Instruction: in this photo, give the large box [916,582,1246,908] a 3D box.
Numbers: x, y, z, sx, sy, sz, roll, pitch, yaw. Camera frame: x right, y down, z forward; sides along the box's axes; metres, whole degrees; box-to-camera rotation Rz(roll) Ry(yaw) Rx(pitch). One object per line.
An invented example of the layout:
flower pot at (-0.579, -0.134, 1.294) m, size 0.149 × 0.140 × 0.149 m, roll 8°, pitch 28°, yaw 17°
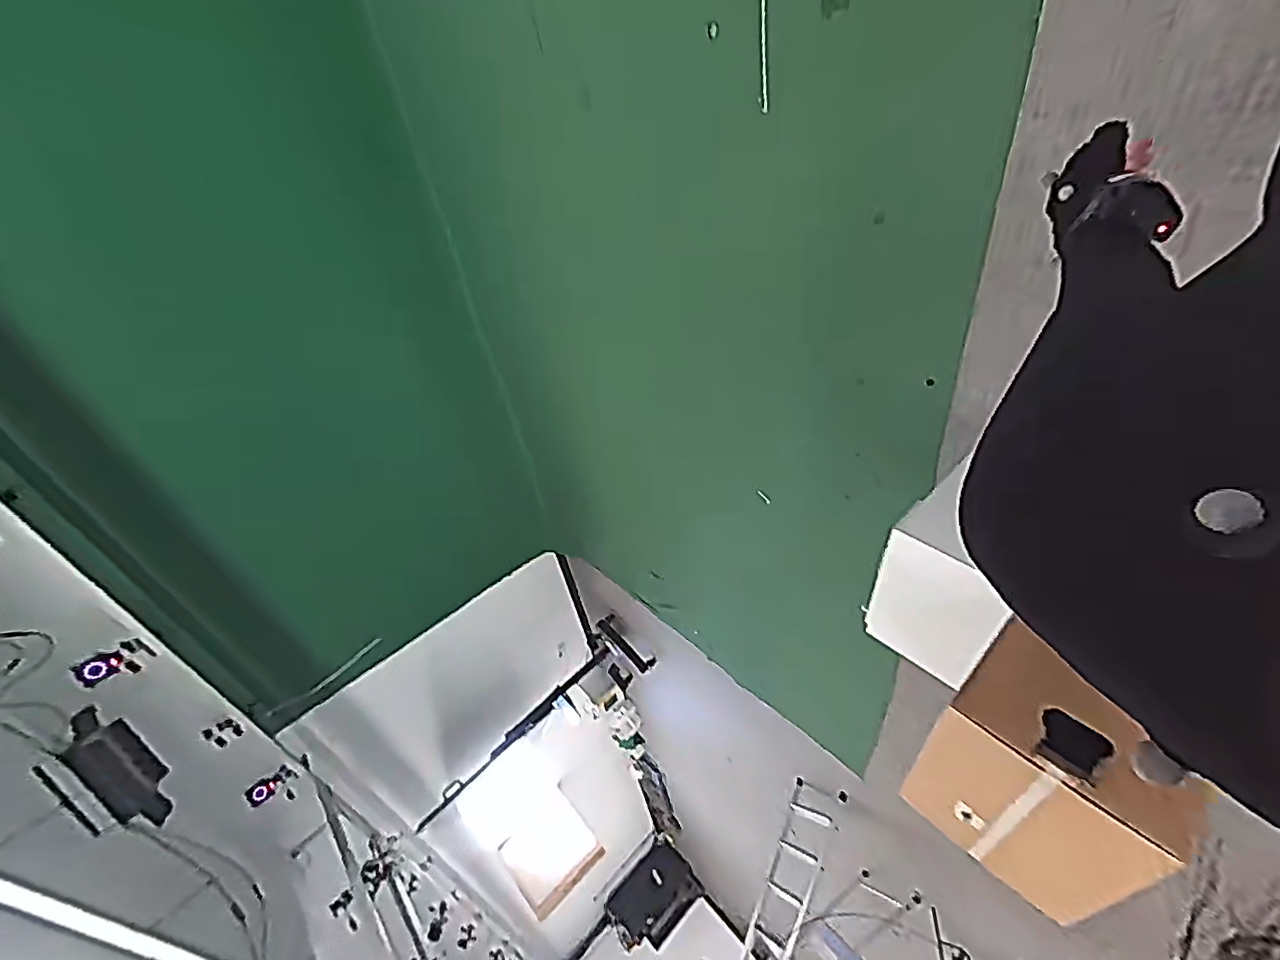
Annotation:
large box at (0.763, 0.471, 0.987) m, size 0.320 × 0.320 × 0.408 m, roll 33°, pitch 147°, yaw 38°
